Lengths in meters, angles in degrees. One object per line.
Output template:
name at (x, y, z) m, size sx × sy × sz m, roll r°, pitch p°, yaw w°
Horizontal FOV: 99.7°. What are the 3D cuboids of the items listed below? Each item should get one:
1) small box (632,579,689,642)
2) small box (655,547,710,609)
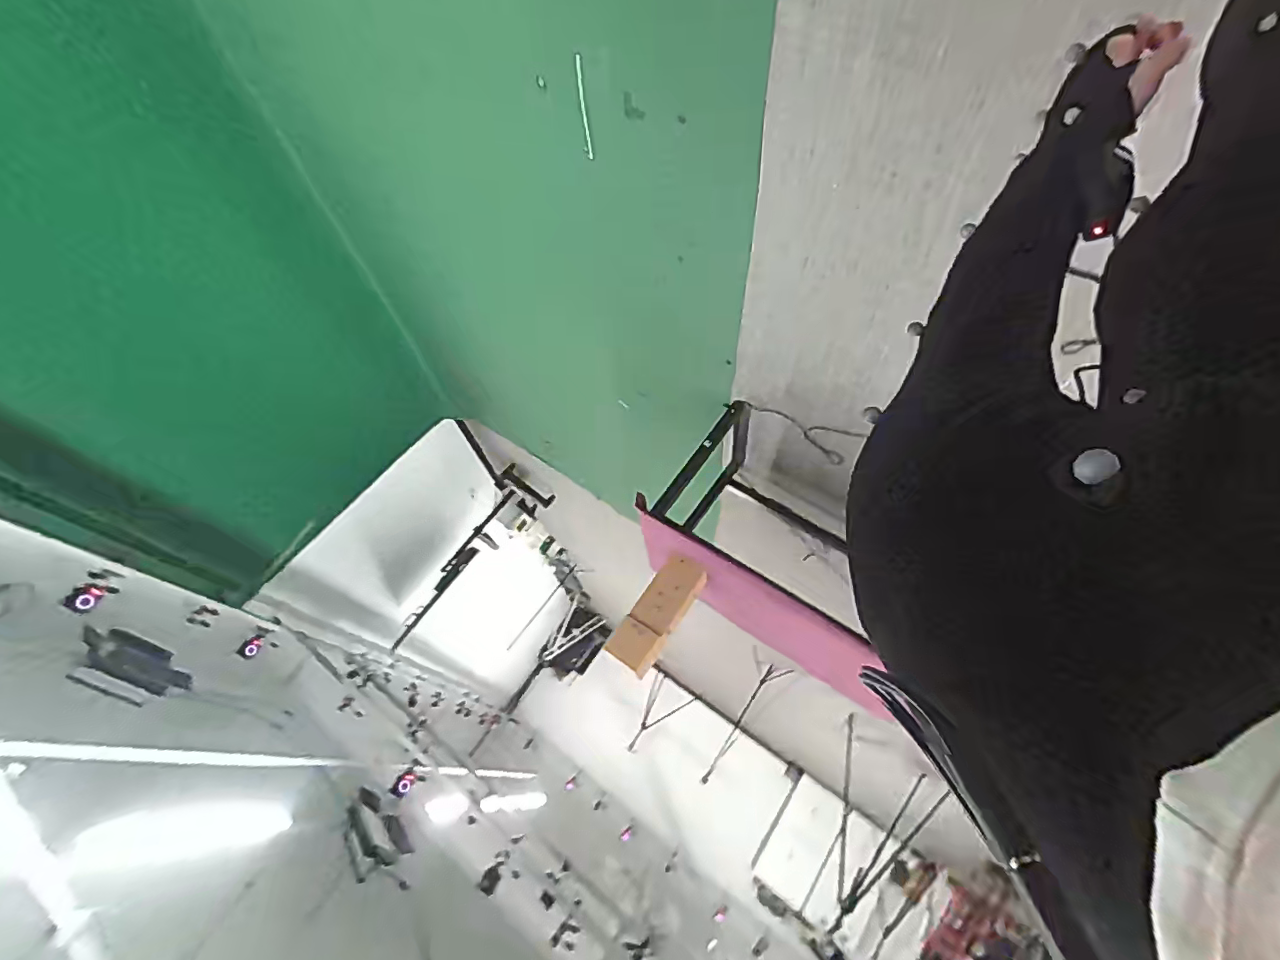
small box at (0.089, 0.536, 2.225) m, size 0.168 × 0.176 × 0.179 m, roll 31°, pitch 159°, yaw 20°
small box at (0.185, 0.413, 2.280) m, size 0.168 × 0.176 × 0.179 m, roll 29°, pitch 159°, yaw 21°
